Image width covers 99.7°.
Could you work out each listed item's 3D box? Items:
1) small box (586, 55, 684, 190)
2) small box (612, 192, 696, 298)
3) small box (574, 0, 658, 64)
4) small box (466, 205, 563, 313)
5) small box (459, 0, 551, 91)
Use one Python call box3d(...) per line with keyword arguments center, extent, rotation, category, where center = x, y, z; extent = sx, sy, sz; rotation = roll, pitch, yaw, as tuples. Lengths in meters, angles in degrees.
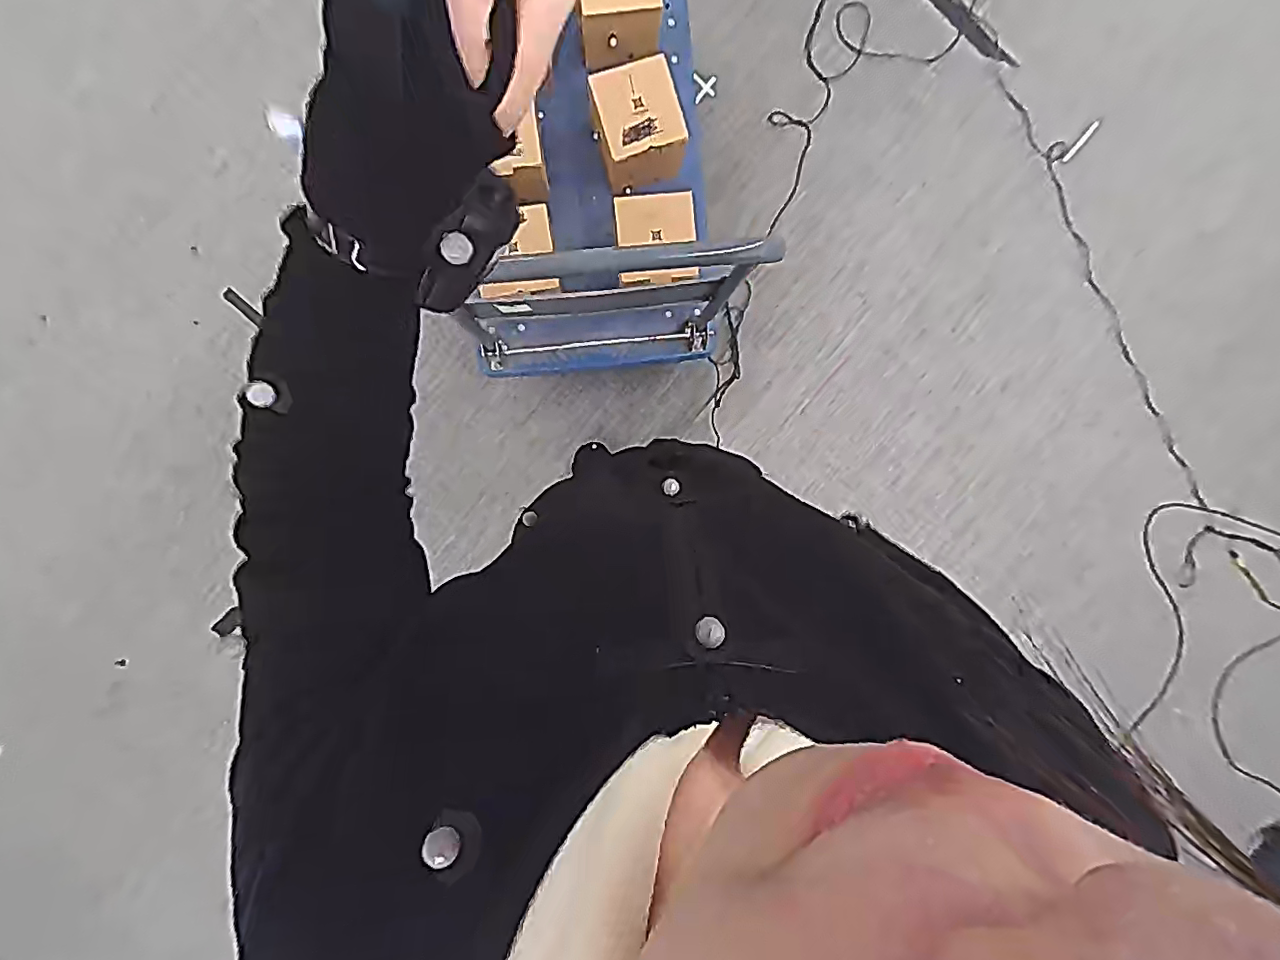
box3d(center=(-0.012, -0.766, 1.184), extent=(0.168, 0.176, 0.179), rotation=(-18, 94, -2), category="small box")
box3d(center=(0.028, -0.513, 1.207), extent=(0.168, 0.176, 0.179), rotation=(-6, 94, -3), category="small box")
box3d(center=(-0.057, -1.035, 1.161), extent=(0.168, 0.176, 0.179), rotation=(-9, 95, -3), category="small box")
box3d(center=(-0.268, -0.475, 1.191), extent=(0.168, 0.176, 0.179), rotation=(-10, 96, -4), category="small box")
box3d(center=(-0.283, -0.973, 1.149), extent=(0.168, 0.176, 0.179), rotation=(-4, 96, -3), category="small box")
